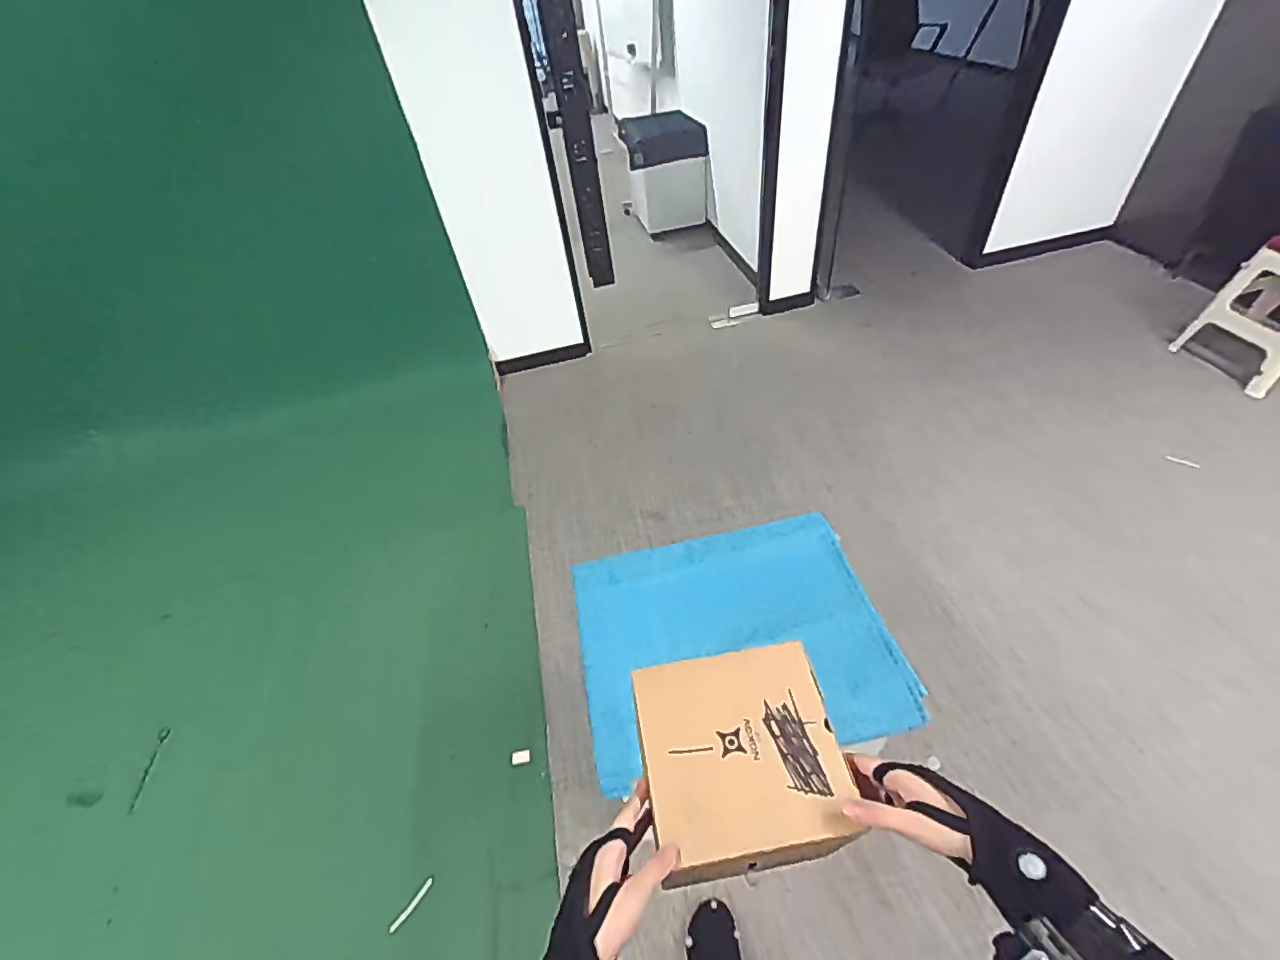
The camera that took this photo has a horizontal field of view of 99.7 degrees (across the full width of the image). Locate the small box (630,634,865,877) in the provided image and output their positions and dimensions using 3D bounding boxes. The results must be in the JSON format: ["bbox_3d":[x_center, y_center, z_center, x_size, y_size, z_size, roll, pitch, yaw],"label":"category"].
[{"bbox_3d":[0.088,0.276,0.540,0.179,0.176,0.168,-8,49,-5],"label":"small box"}]
